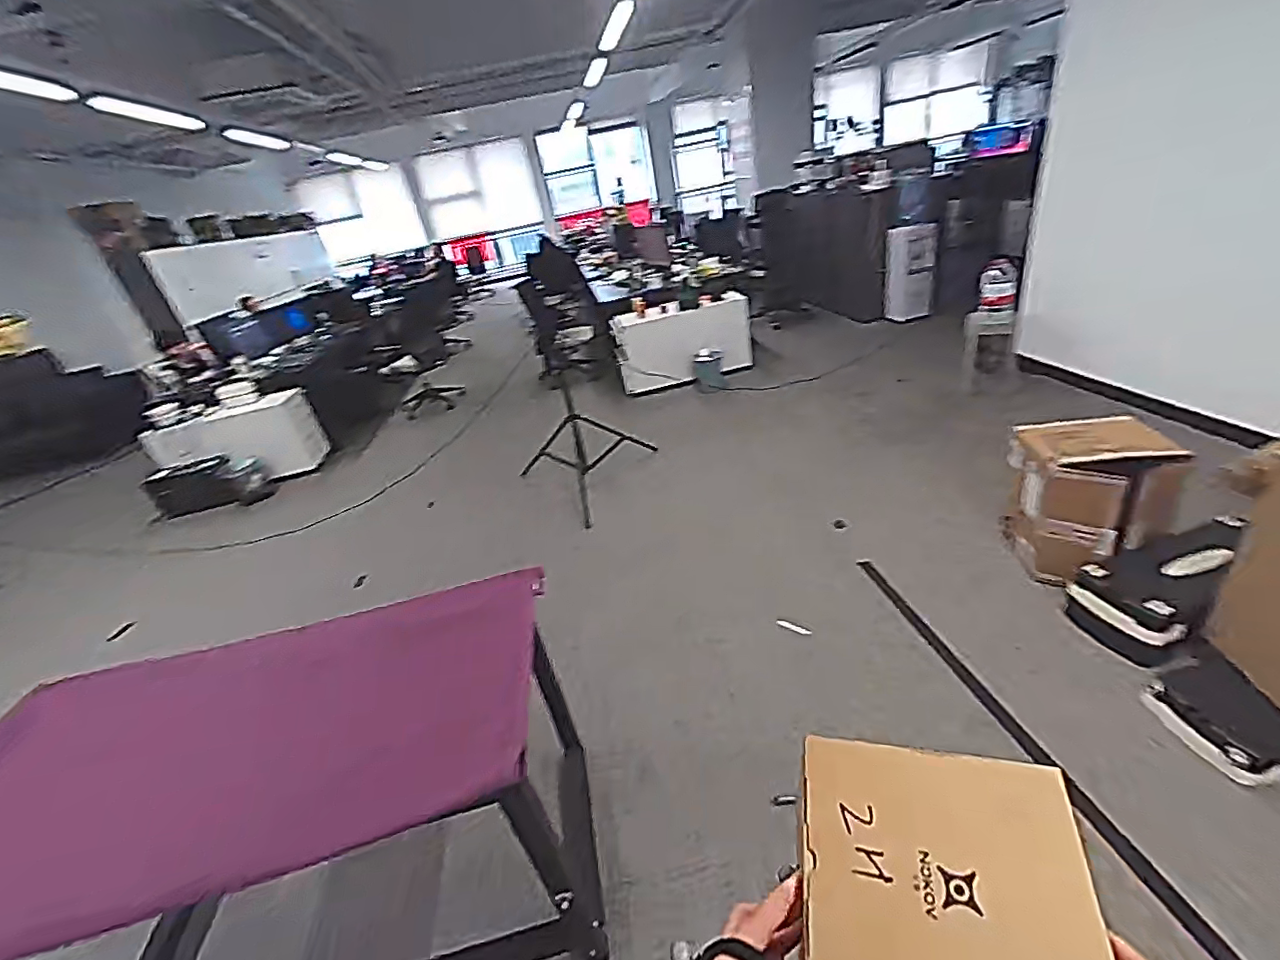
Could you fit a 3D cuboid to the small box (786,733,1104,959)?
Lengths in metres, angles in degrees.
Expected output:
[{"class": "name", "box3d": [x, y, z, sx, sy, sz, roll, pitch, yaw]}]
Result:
[{"class": "small box", "box3d": [0.203, 0.312, 0.406, 0.179, 0.176, 0.168, 1, 48, 15]}]
